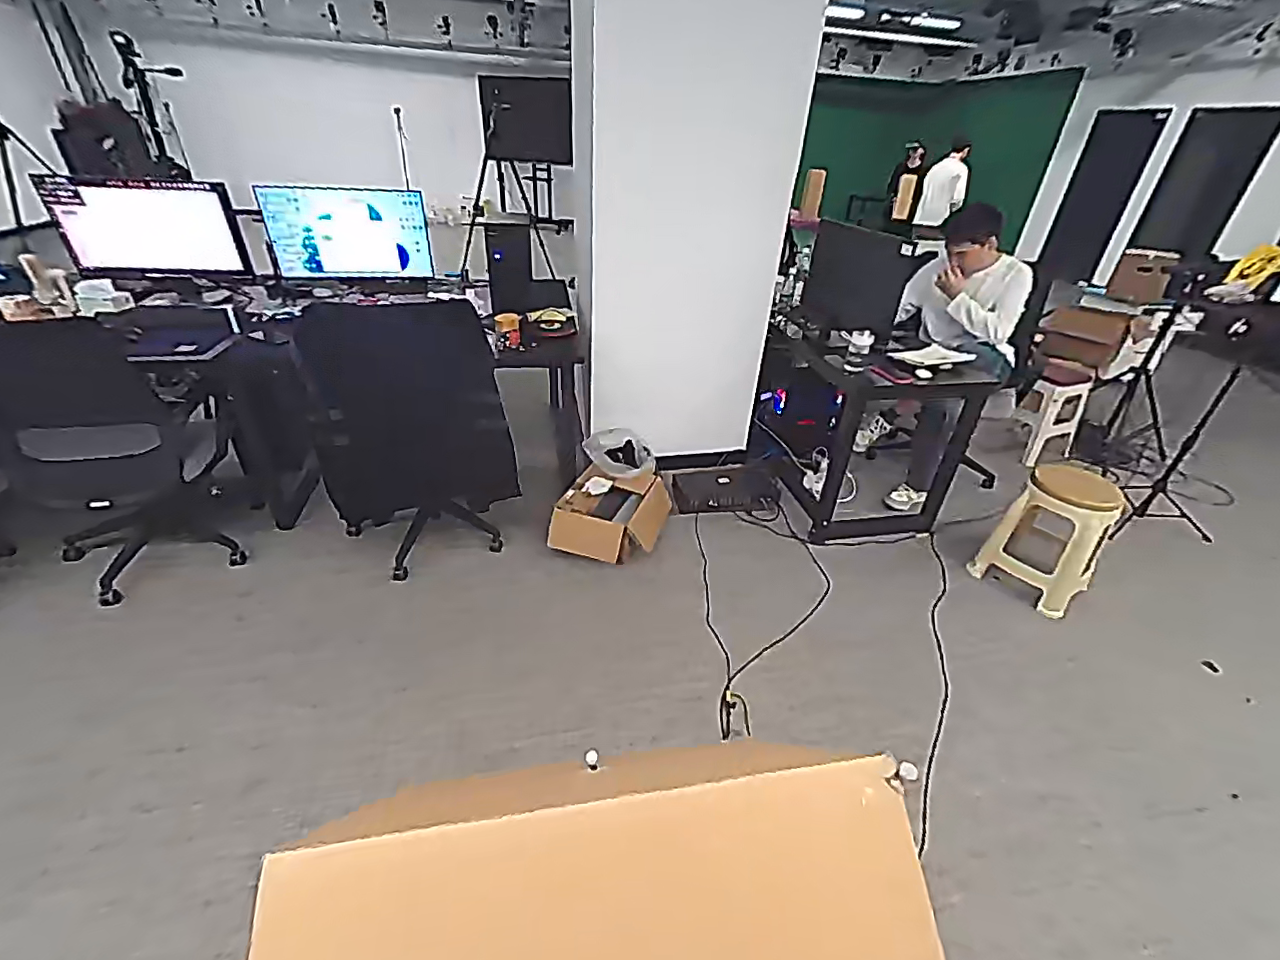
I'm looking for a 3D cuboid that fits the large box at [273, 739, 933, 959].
[{"bbox_3d":[-0.023,0.414,0.440,0.408,0.320,0.320,-4,69,-11],"label":"large box"}]
